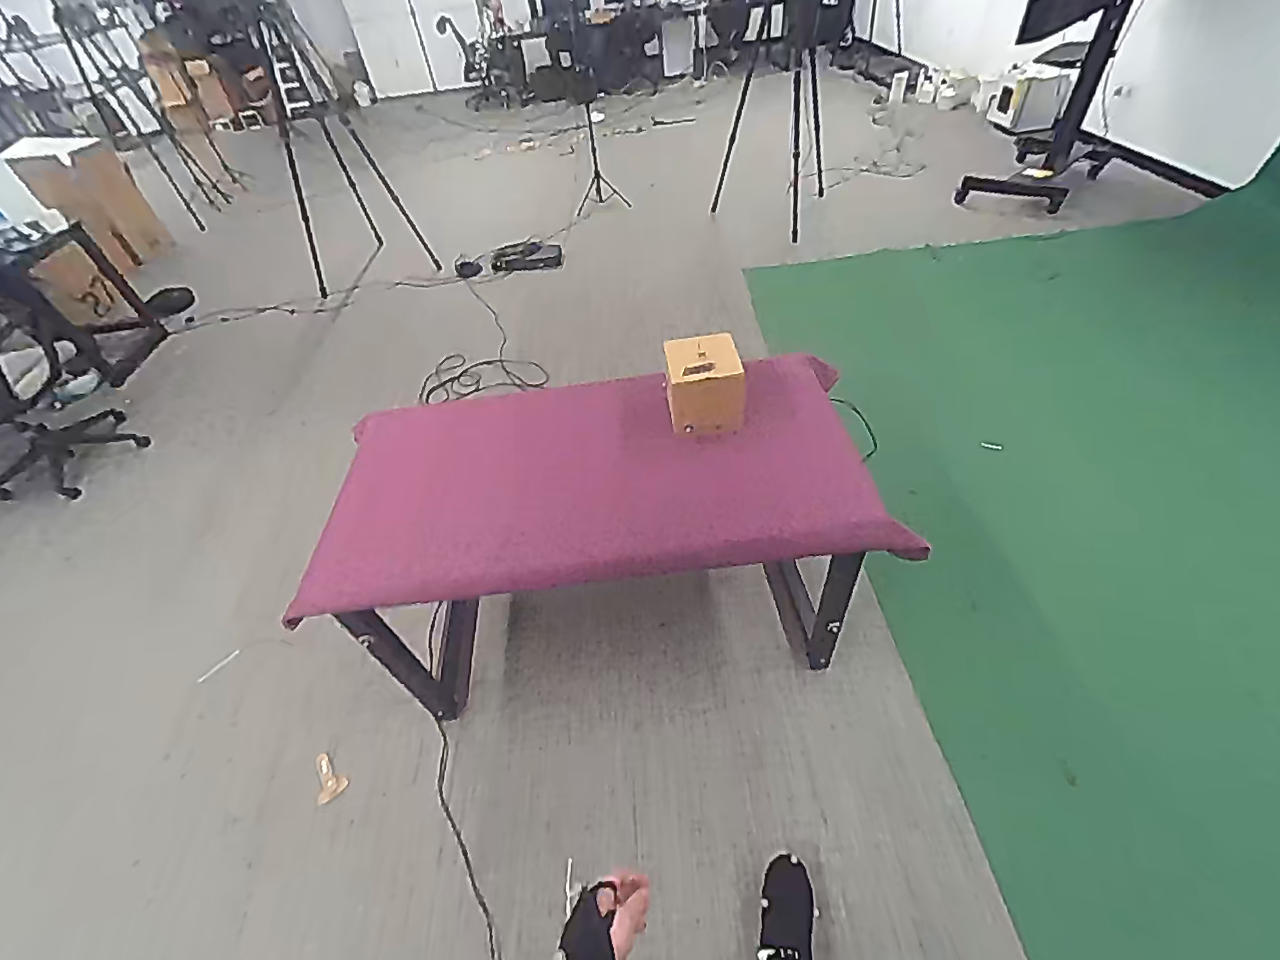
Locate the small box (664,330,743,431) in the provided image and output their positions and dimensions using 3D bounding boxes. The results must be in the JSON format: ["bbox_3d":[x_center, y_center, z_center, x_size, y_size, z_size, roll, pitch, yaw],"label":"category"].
[{"bbox_3d":[0.152,-0.232,1.299,0.168,0.176,0.179,-7,45,2],"label":"small box"}]
